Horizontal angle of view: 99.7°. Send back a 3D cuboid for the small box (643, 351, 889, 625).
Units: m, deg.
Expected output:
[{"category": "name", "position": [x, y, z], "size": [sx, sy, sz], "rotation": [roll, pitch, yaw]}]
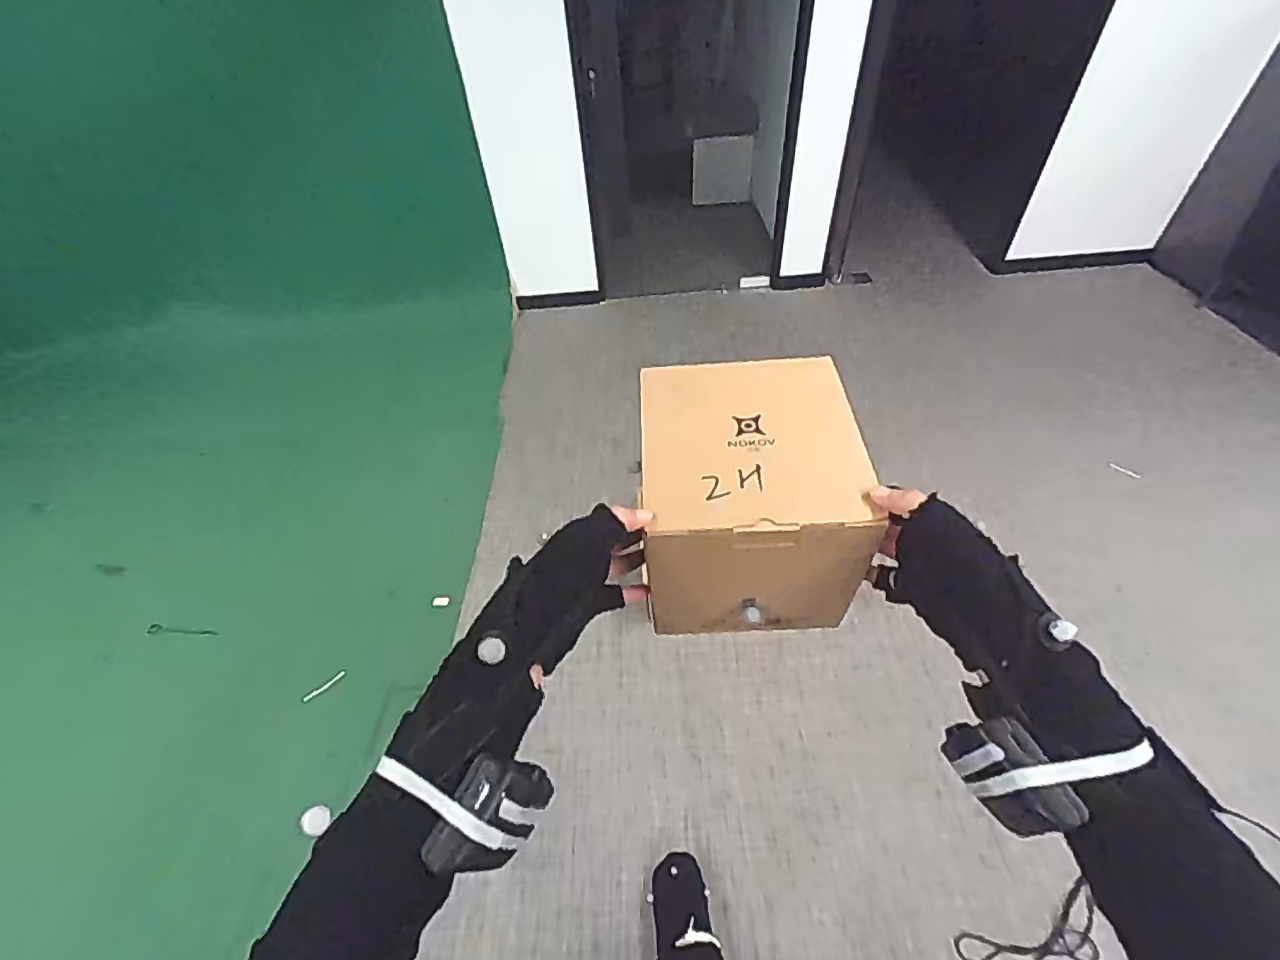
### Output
[{"category": "small box", "position": [0.089, 0.010, 0.473], "size": [0.168, 0.176, 0.179], "rotation": [-2, 51, 4]}]
